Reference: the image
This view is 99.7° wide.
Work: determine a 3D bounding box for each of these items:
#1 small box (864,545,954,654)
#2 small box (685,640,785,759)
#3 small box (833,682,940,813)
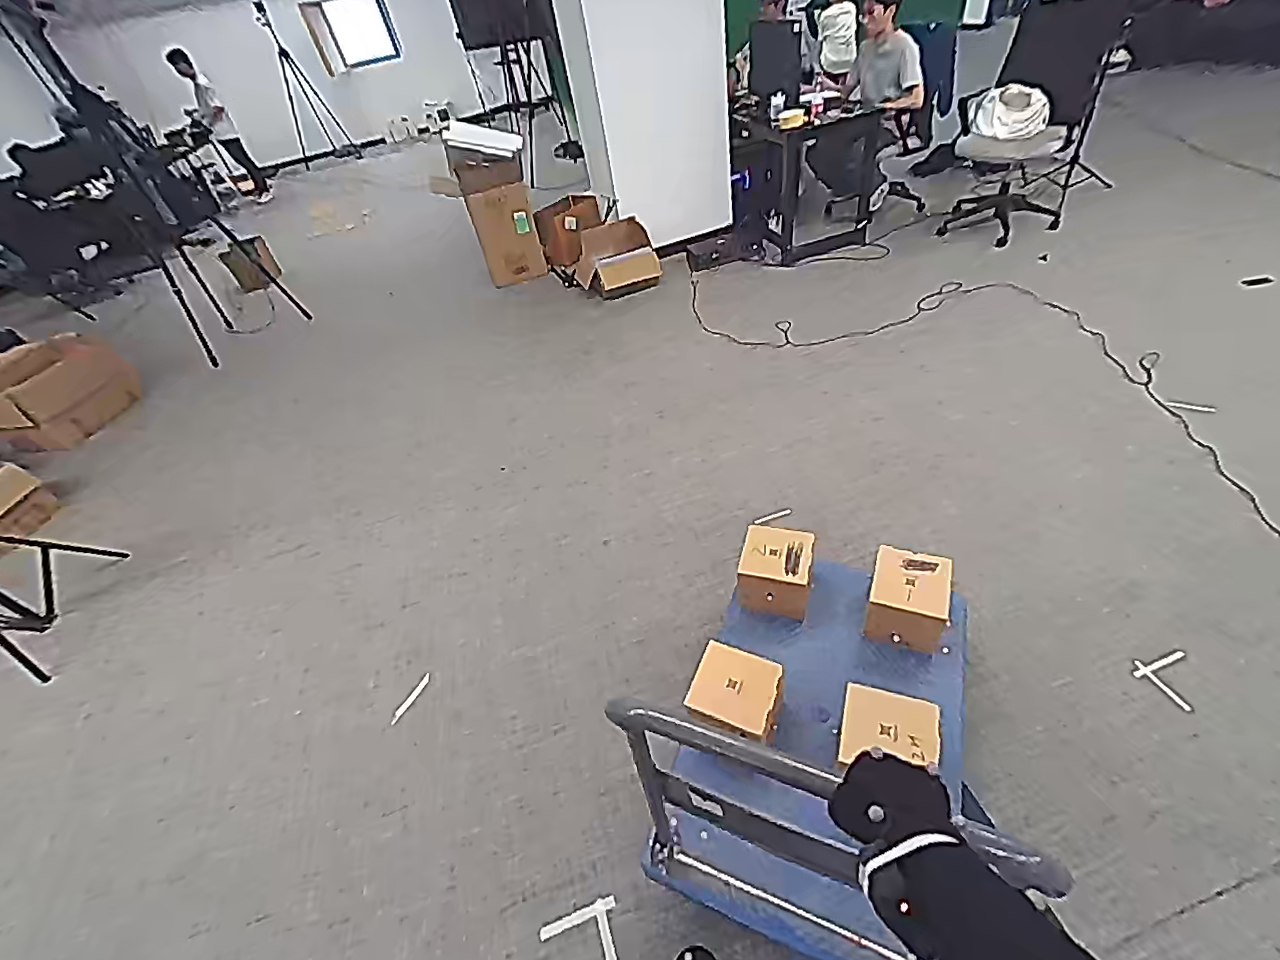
[{"bbox_3d":[0.658,0.294,1.332,0.168,0.176,0.179,11,49,24],"label":"small box"},{"bbox_3d":[0.218,0.499,1.226,0.179,0.176,0.168,14,49,24],"label":"small box"},{"bbox_3d":[0.499,0.548,1.104,0.179,0.176,0.168,9,47,22],"label":"small box"}]
